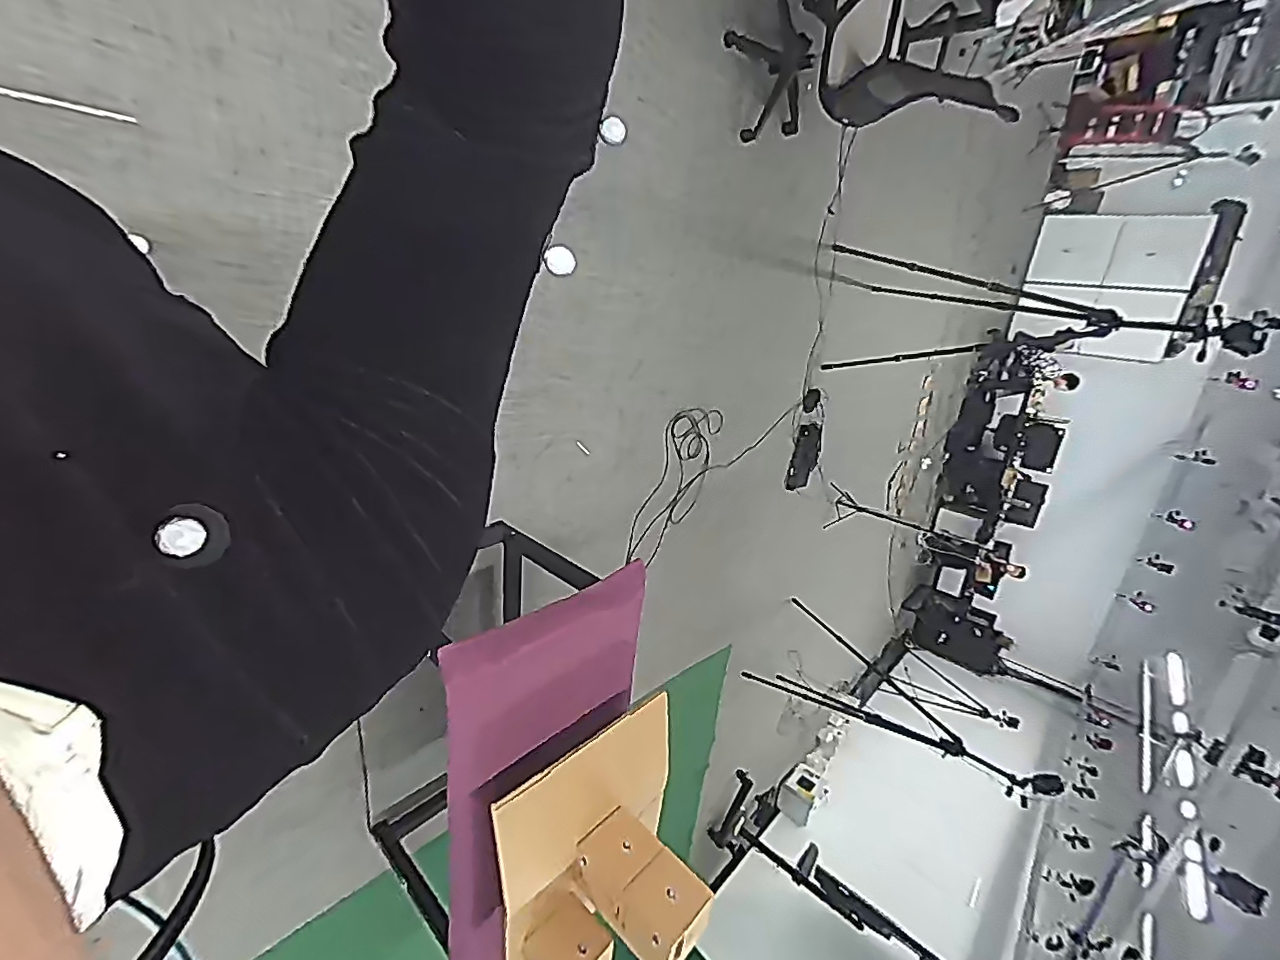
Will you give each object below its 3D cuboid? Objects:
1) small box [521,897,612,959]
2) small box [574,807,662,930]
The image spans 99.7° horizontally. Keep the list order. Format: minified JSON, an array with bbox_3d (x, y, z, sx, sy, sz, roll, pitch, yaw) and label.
[{"bbox_3d":[-0.201,1.287,1.453,0.179,0.176,0.168,-17,120,-45],"label":"small box"},{"bbox_3d":[-0.066,1.068,1.500,0.179,0.176,0.168,-18,123,-45],"label":"small box"}]
